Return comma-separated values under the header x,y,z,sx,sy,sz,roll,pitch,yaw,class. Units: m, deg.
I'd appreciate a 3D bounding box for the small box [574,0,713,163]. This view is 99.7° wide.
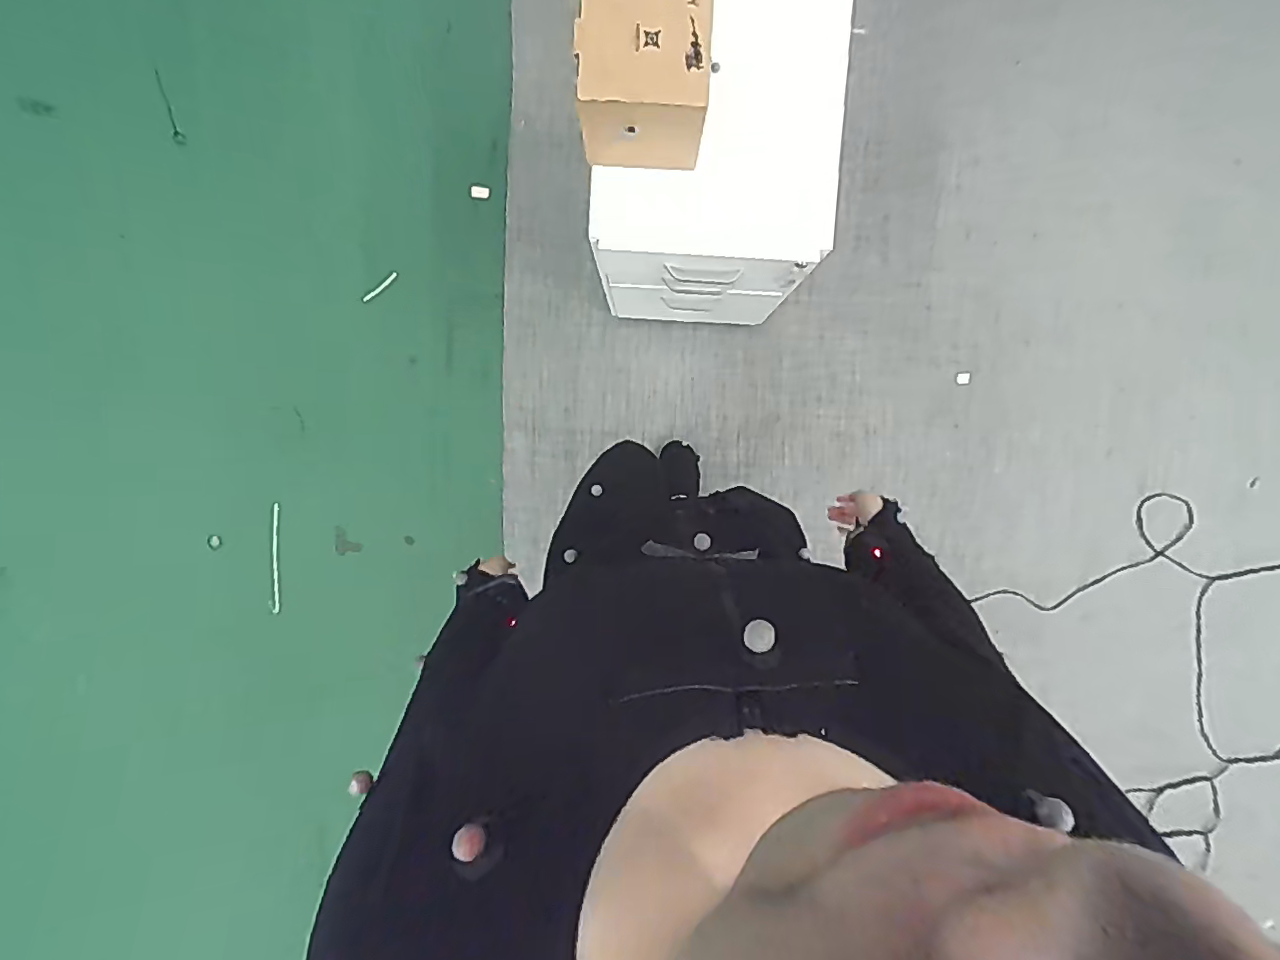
x,y,z,sx,sy,sz,roll,pitch,yaw,class
0.007,-0.582,0.777,0.179,0.176,0.168,3,94,0,small box
